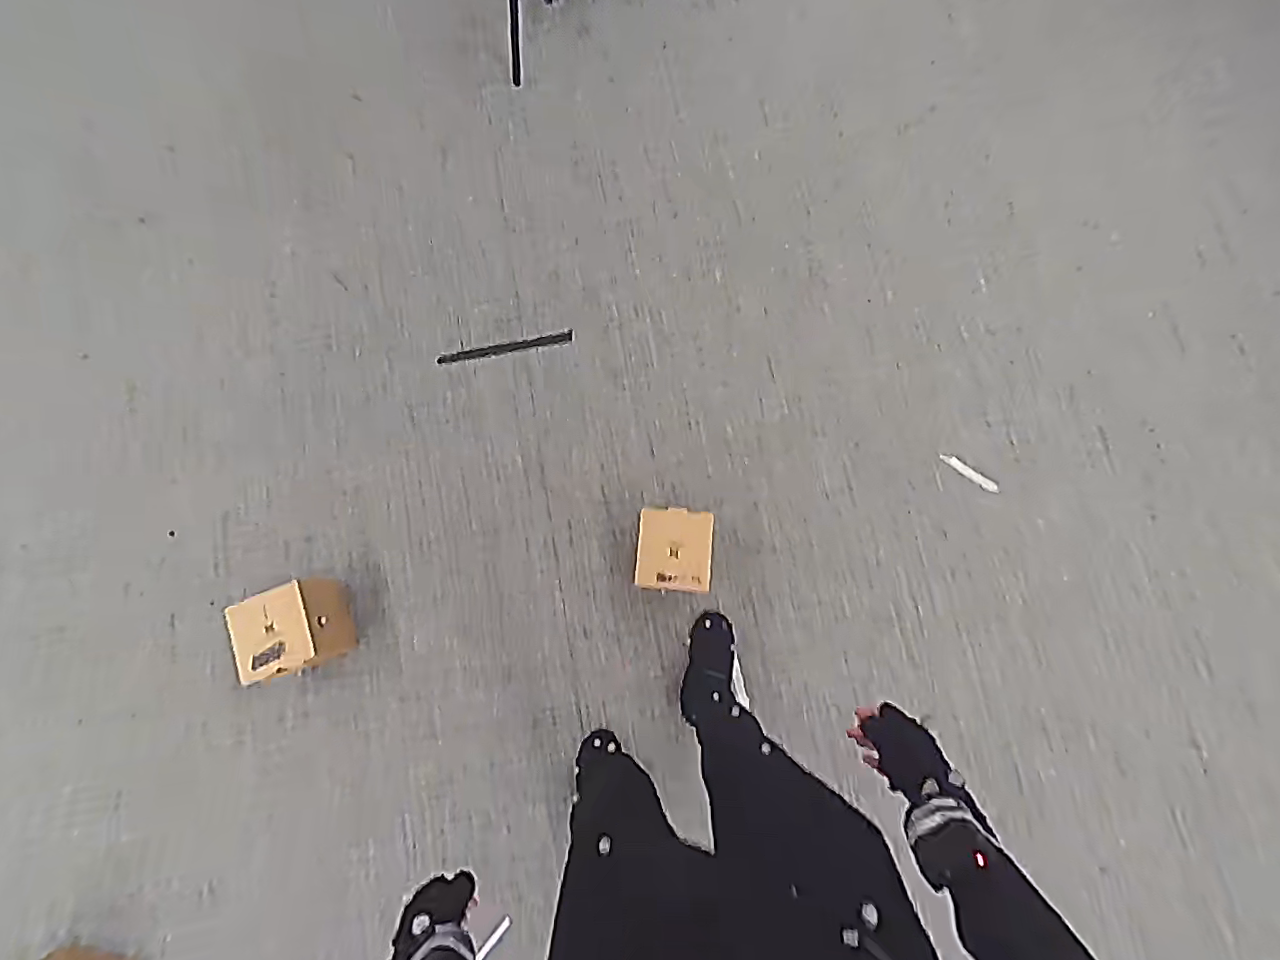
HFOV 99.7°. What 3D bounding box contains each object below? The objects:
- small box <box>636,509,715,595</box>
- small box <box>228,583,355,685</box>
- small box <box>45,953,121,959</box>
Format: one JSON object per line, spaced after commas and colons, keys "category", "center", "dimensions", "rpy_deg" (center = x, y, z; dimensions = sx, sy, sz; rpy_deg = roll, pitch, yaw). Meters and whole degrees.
{"category": "small box", "center": [0.079, 0.174, 1.274], "dimensions": [0.168, 0.176, 0.179], "rpy_deg": [5, 79, 1]}
{"category": "small box", "center": [-0.789, 0.343, 1.243], "dimensions": [0.168, 0.176, 0.179], "rpy_deg": [-21, 79, -4]}
{"category": "small box", "center": [-1.220, 1.110, 1.097], "dimensions": [0.179, 0.176, 0.168], "rpy_deg": [6, 81, 0]}
